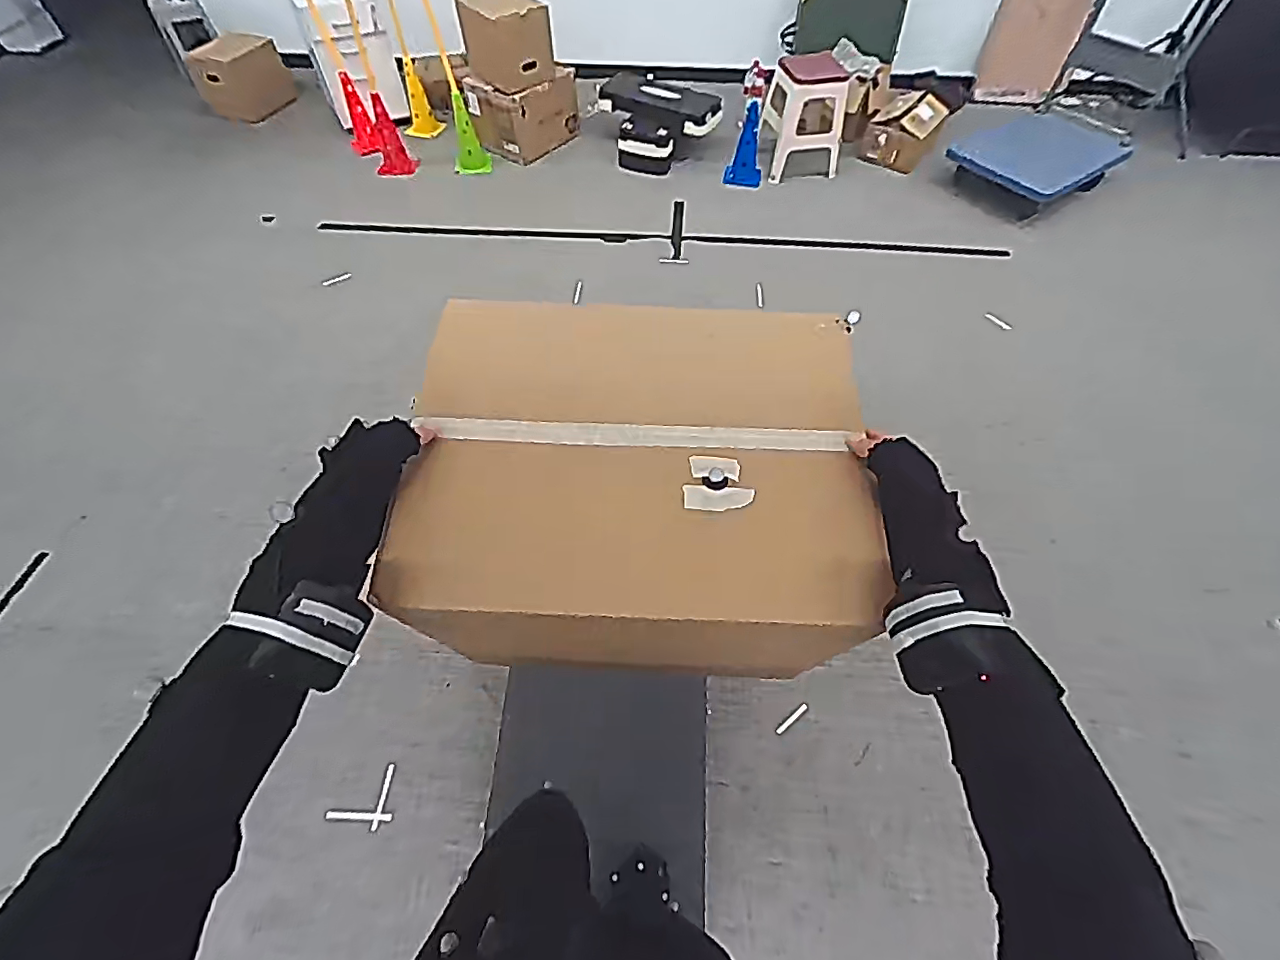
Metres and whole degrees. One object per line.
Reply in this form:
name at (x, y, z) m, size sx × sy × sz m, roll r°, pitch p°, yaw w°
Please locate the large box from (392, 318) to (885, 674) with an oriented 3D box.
large box at (-0.001, 0.039, 0.628) m, size 0.408 × 0.320 × 0.320 m, roll 2°, pitch 63°, yaw 0°
